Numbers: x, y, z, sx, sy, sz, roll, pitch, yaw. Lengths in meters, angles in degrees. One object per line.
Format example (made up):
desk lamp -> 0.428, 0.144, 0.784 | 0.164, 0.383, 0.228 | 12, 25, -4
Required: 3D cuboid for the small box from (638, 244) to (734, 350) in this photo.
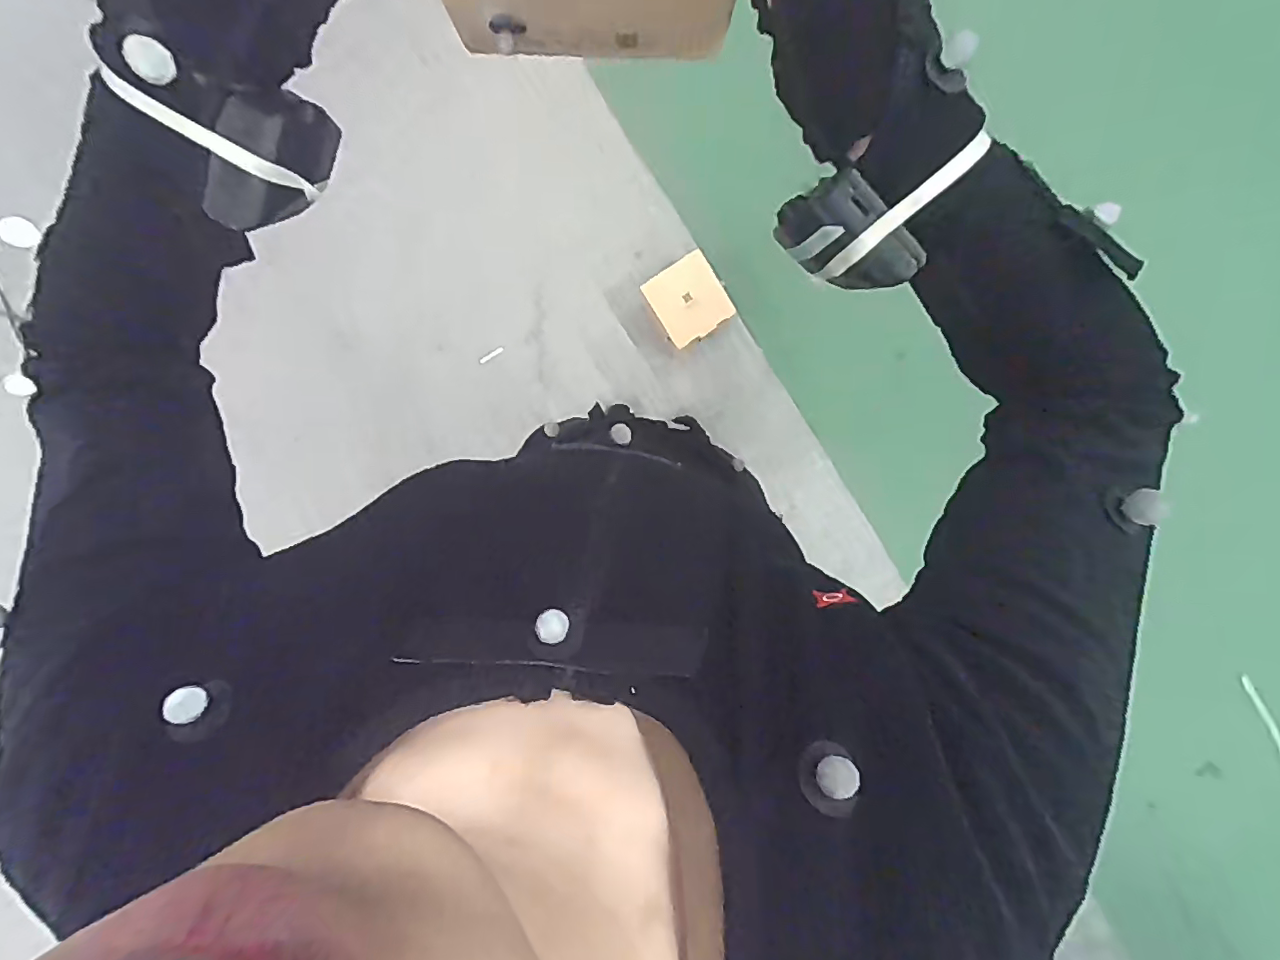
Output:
small box -> 0.108, -0.442, 1.340 | 0.168, 0.176, 0.179 | -33, 96, 5
